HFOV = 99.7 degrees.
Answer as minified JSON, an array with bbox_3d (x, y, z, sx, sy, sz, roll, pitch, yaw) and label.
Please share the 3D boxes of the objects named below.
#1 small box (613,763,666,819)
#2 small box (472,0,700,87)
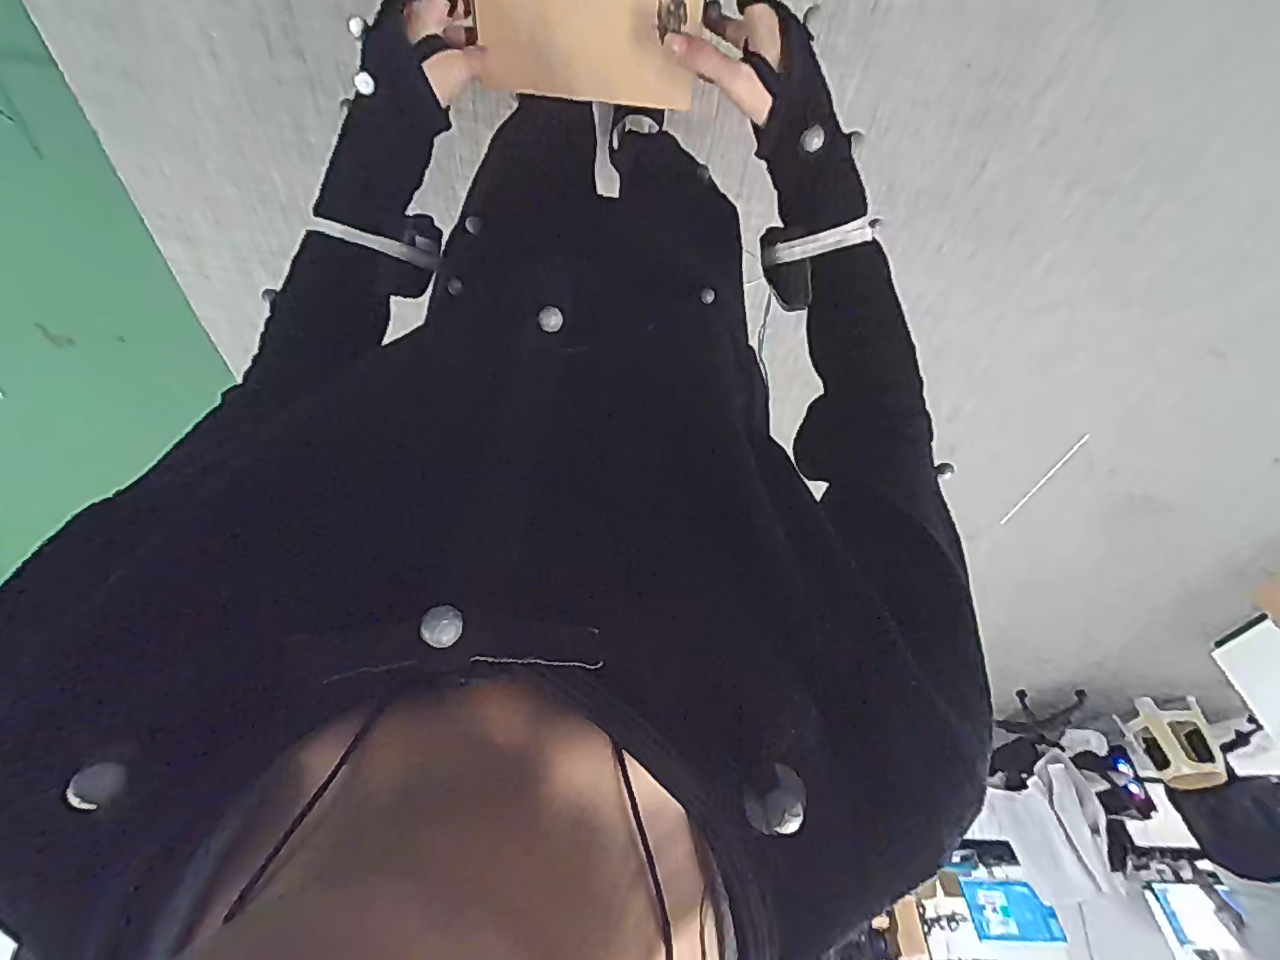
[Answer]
[{"bbox_3d":[-0.003,1.274,2.216,0.179,0.176,0.168,14,137,-12],"label":"small box"},{"bbox_3d":[-0.032,-0.447,0.442,0.179,0.176,0.168,7,136,-1],"label":"small box"}]
